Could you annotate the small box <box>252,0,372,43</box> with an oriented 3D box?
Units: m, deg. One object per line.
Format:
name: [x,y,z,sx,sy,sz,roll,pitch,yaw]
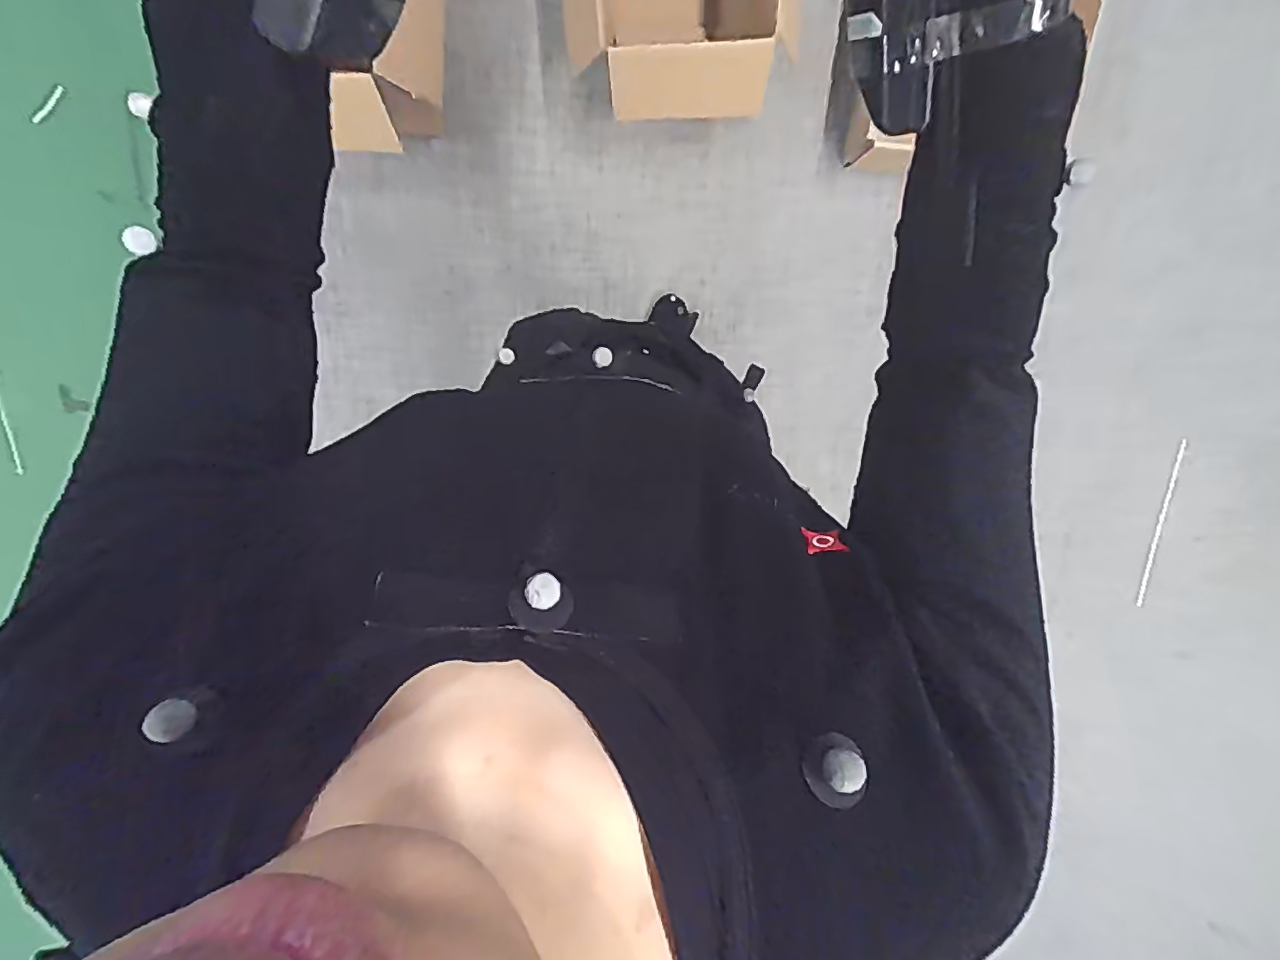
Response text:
small box: [-0.605,-0.939,0.985,0.179,0.176,0.168,7,103,-1]
